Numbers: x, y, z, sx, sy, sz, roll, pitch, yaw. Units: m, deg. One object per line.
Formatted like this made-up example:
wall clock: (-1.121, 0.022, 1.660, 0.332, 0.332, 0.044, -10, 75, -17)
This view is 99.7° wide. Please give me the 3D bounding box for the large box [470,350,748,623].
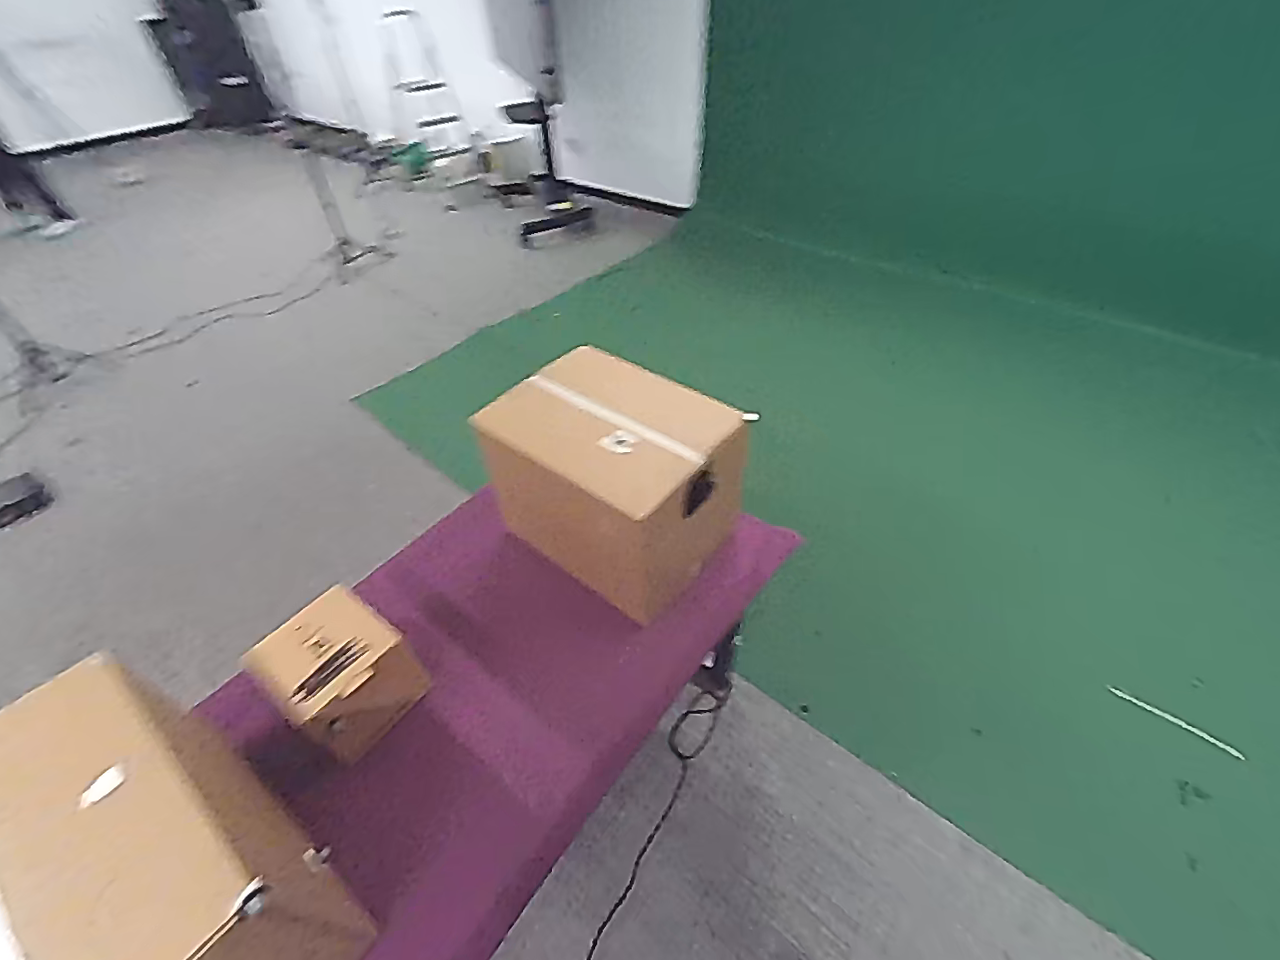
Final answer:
large box: (-0.056, 0.000, 1.064, 0.408, 0.320, 0.320, 28, 53, 26)
